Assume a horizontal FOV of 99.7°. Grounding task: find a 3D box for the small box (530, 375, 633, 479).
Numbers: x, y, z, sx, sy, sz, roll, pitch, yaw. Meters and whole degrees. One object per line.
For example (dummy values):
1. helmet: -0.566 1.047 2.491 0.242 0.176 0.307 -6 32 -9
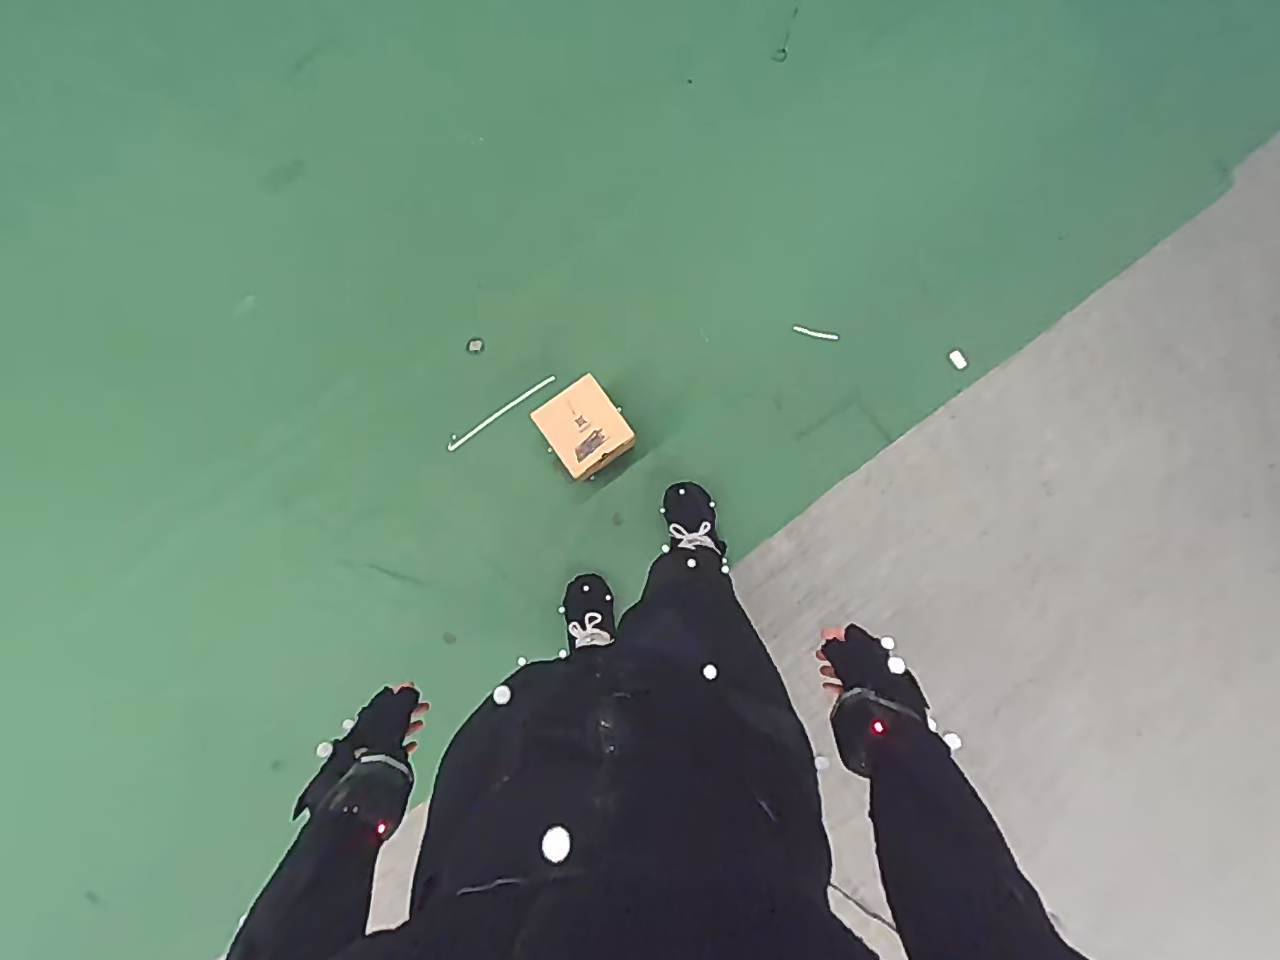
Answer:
1. small box: -0.130 -0.115 1.266 0.168 0.176 0.179 -36 88 -4
